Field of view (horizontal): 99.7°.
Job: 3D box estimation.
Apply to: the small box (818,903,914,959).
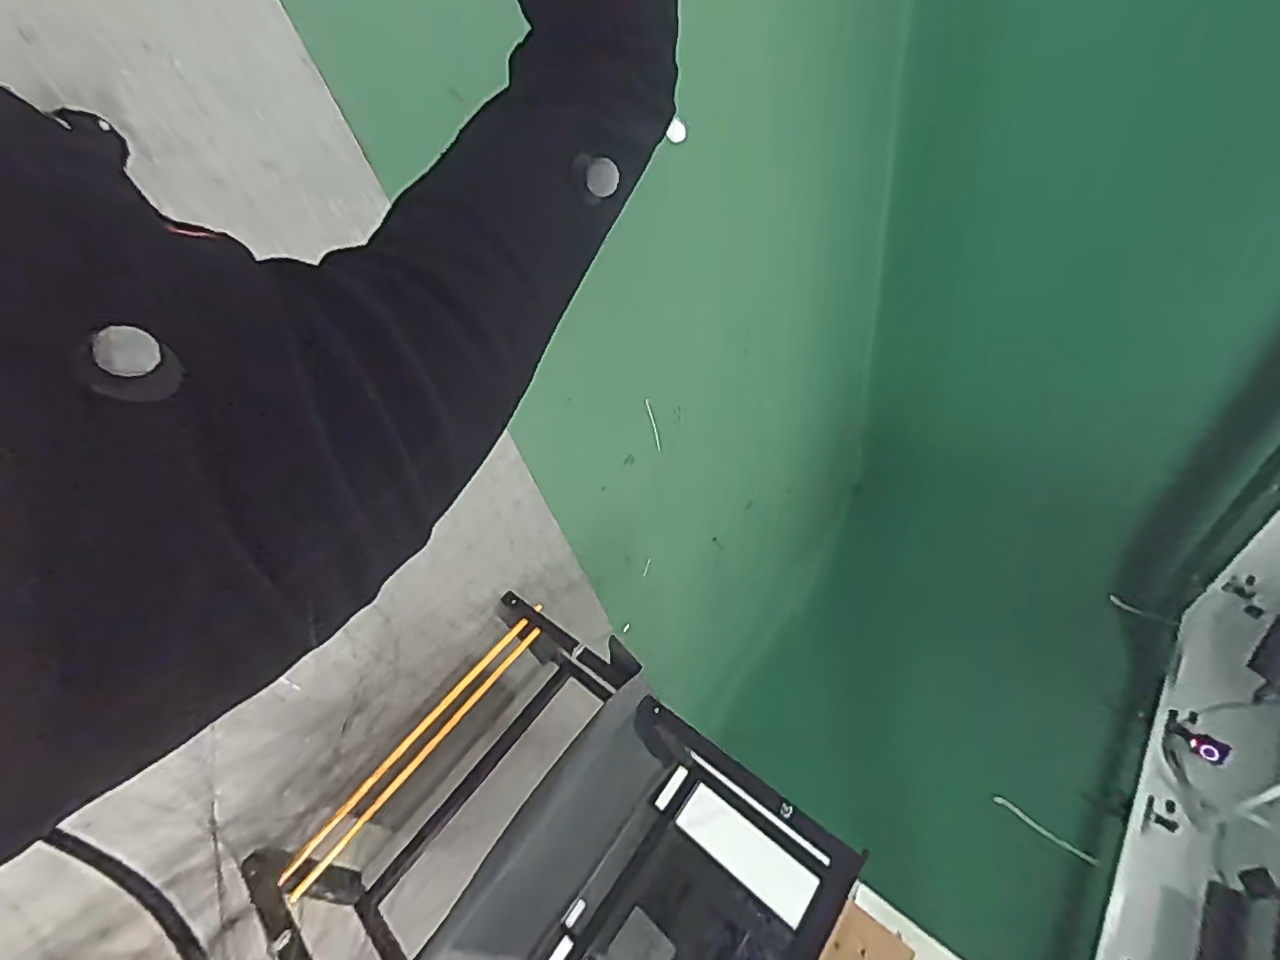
[{"bbox_3d":[0.540,1.177,1.313,0.168,0.176,0.179,-46,140,-25],"label":"small box"}]
